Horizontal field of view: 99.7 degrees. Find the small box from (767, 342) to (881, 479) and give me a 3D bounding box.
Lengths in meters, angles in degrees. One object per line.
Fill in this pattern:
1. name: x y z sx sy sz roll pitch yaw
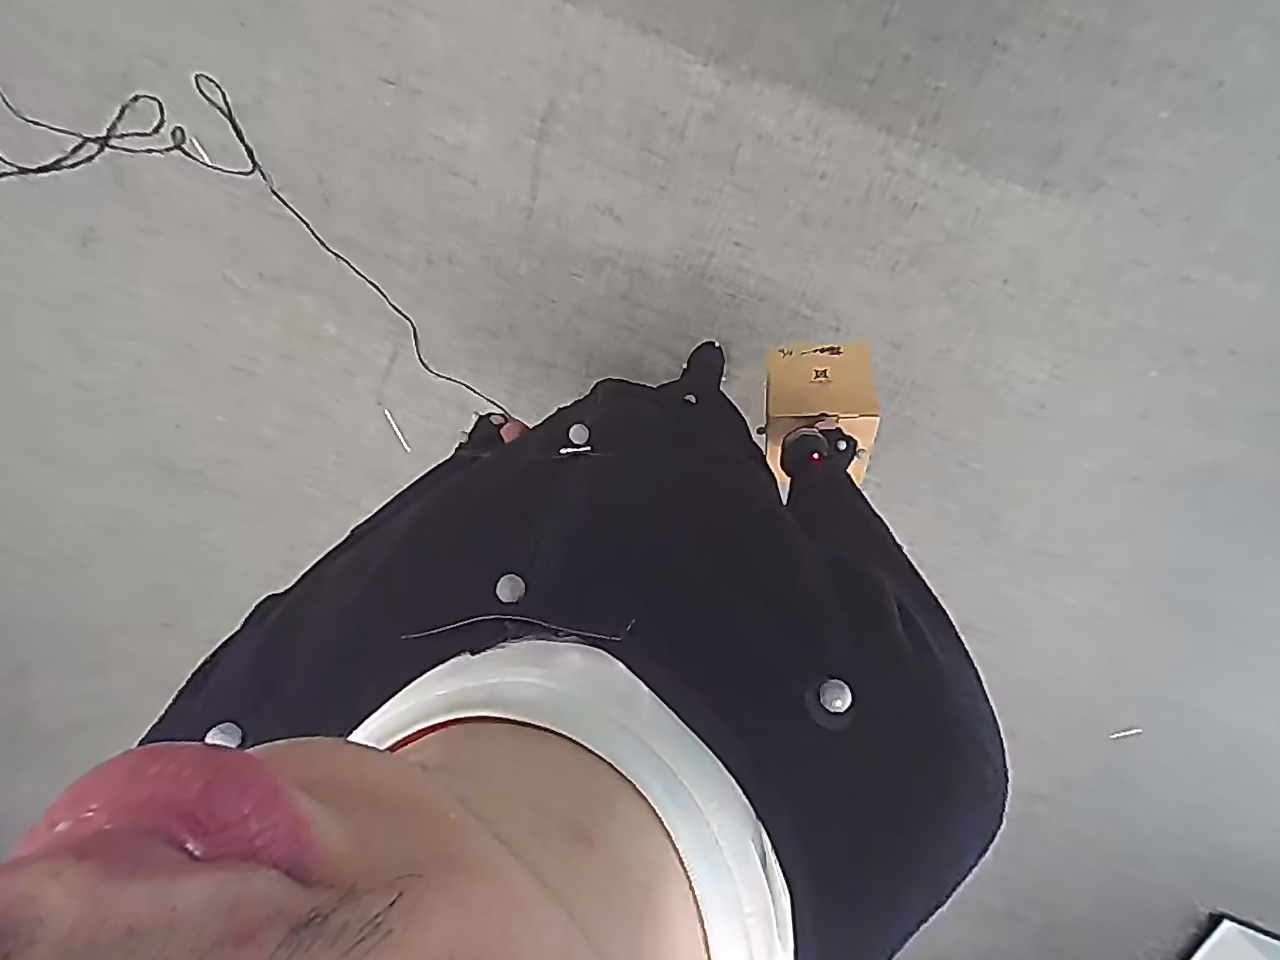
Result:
1. small box: 0.308 -0.112 0.936 0.168 0.179 0.176 -2 142 12
